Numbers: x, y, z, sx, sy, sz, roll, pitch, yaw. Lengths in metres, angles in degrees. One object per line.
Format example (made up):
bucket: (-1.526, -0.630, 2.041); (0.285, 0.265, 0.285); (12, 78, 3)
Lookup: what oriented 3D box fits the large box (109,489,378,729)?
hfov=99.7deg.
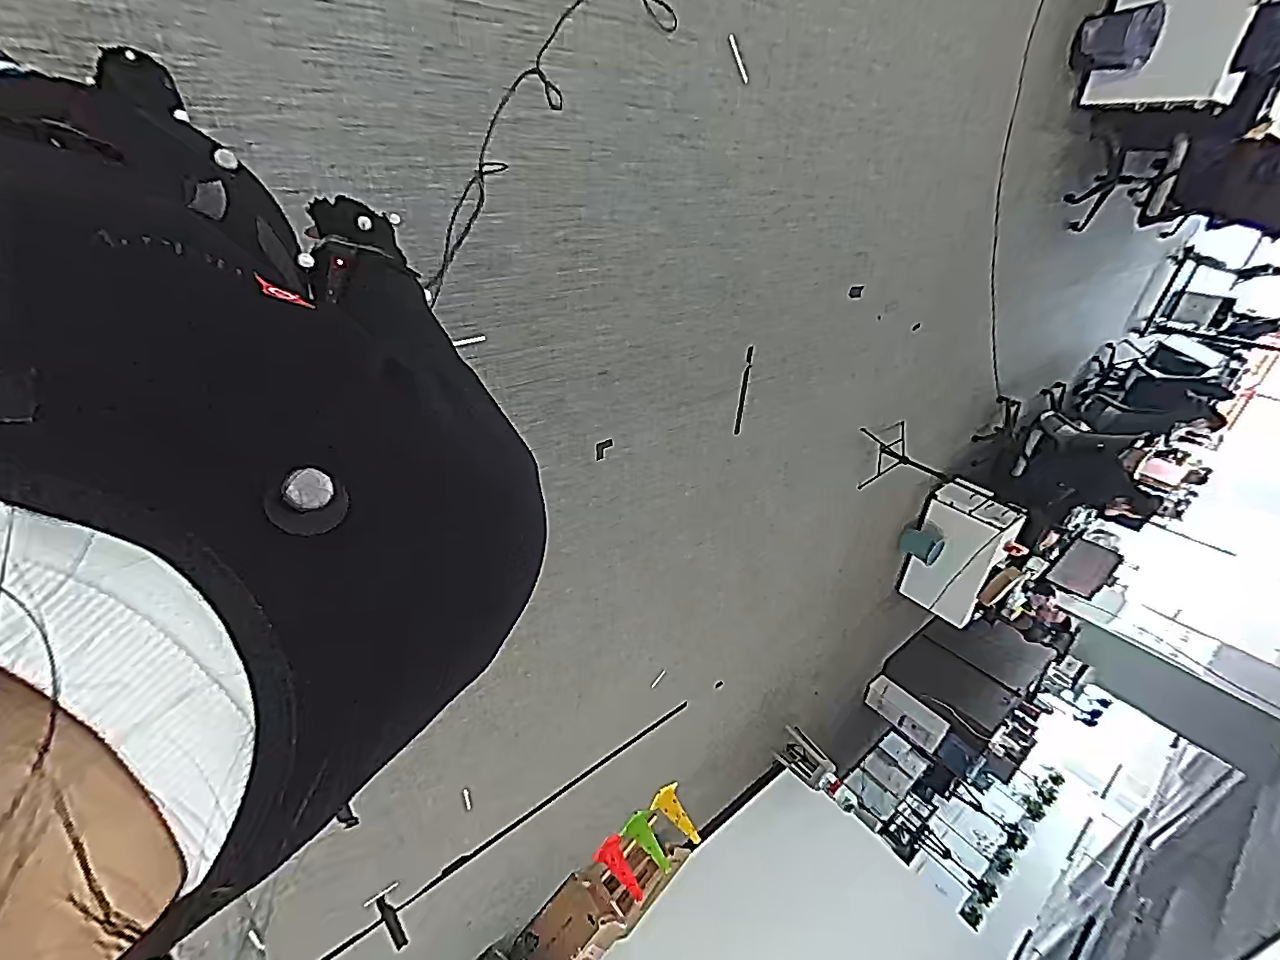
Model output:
large box: (-0.910, 0.279, 1.280); (0.408, 0.320, 0.320); (-25, 129, -28)
